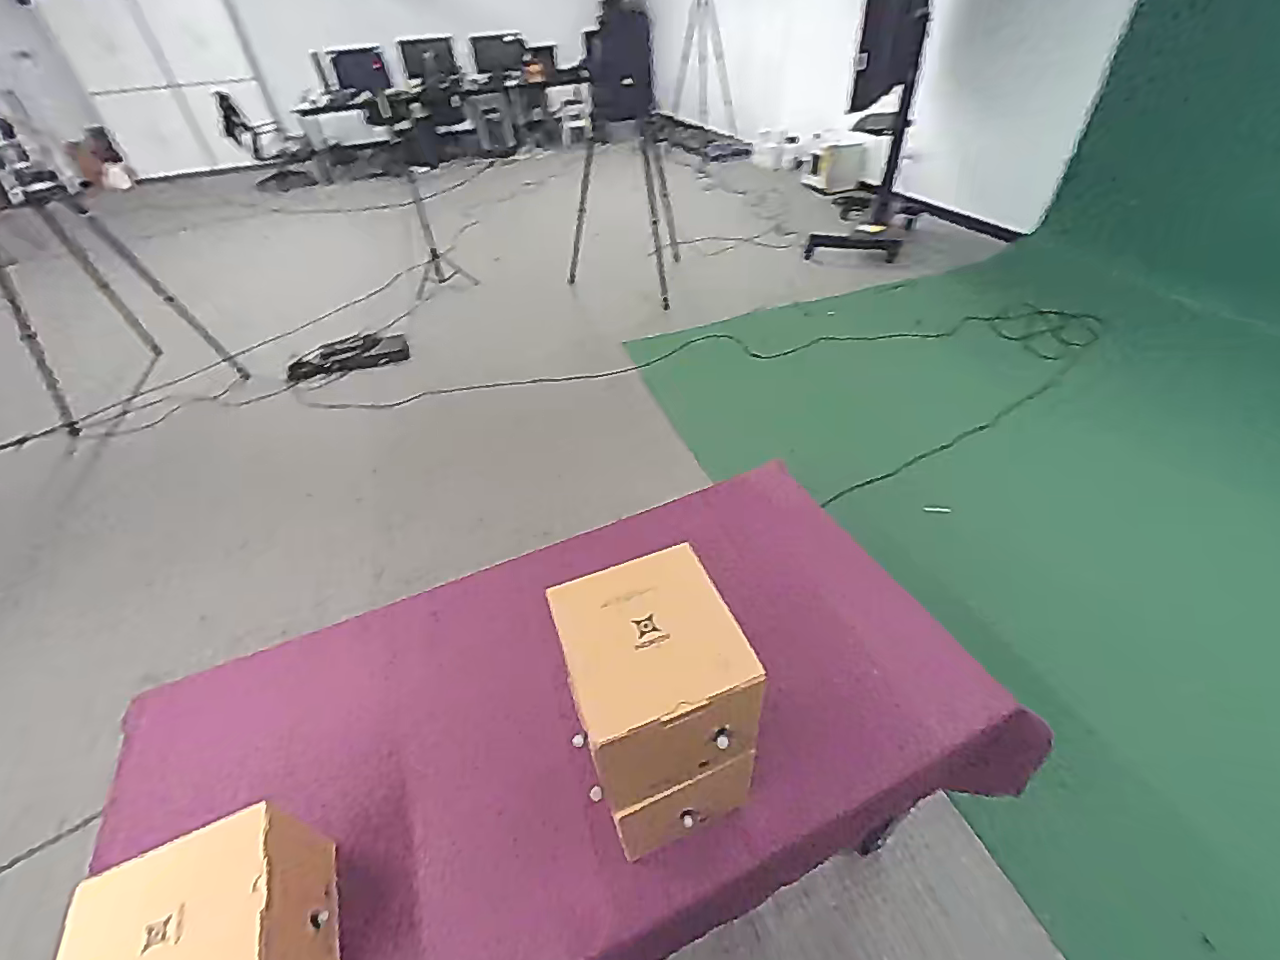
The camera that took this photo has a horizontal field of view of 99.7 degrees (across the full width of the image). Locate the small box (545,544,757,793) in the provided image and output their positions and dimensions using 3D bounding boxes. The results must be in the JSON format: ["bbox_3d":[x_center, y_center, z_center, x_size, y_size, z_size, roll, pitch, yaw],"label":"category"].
[{"bbox_3d":[0.009,0.205,0.581,0.168,0.176,0.179,-17,43,-13],"label":"small box"}]

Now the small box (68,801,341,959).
[{"bbox_3d":[-0.440,0.485,0.564,0.179,0.176,0.168,-20,43,-17],"label":"small box"}]

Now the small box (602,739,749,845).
[{"bbox_3d":[0.023,0.329,0.686,0.168,0.176,0.179,-18,43,-14],"label":"small box"}]
